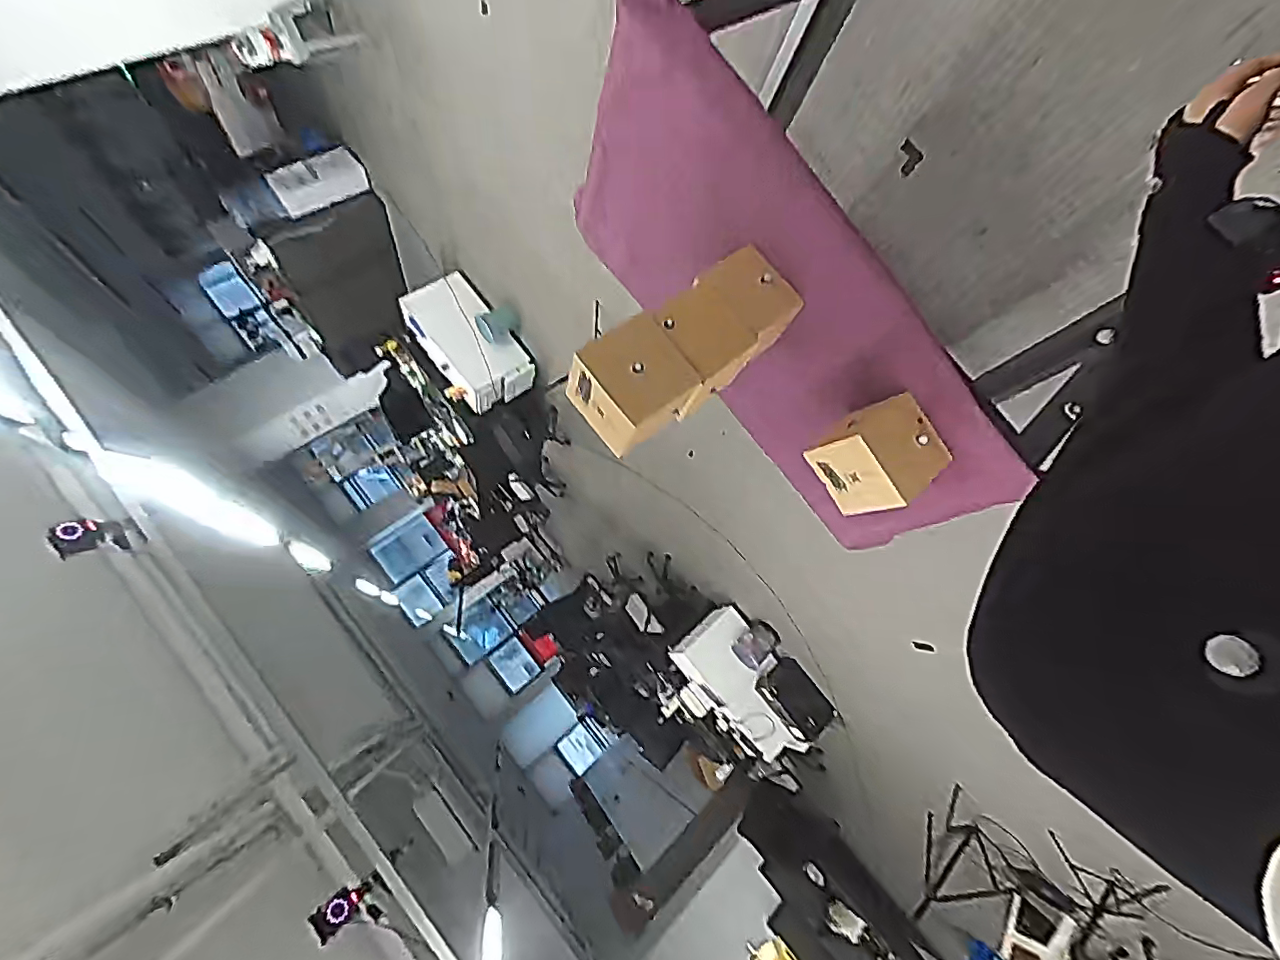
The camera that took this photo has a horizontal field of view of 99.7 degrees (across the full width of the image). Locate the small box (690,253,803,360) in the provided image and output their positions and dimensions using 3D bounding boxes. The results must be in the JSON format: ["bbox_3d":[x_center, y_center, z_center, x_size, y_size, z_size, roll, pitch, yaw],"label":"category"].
[{"bbox_3d":[0.215,-0.365,1.180,0.179,0.176,0.168,51,160,7],"label":"small box"}]

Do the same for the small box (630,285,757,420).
[{"bbox_3d":[0.108,-0.261,1.111,0.179,0.176,0.168,50,159,7],"label":"small box"}]

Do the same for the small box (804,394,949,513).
[{"bbox_3d":[0.484,-0.051,1.113,0.168,0.176,0.179,55,158,-4],"label":"small box"}]
